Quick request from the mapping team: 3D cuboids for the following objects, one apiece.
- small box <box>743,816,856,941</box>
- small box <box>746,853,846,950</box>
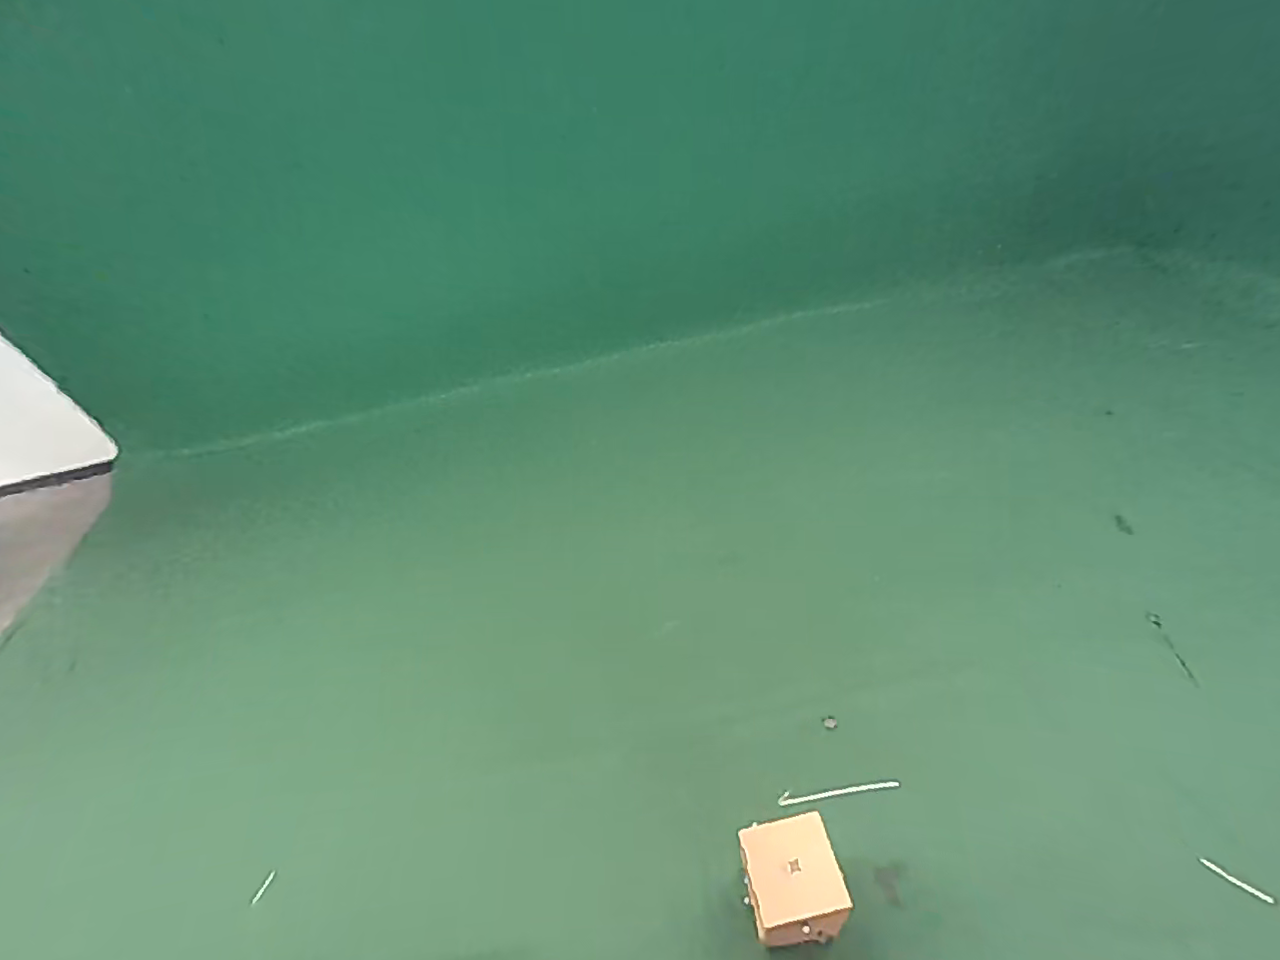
[{"bbox_3d":[0.325,0.827,1.123,0.179,0.176,0.168,-15,43,1],"label":"small box"},{"bbox_3d":[0.348,0.946,1.232,0.179,0.176,0.168,-12,43,3],"label":"small box"}]
